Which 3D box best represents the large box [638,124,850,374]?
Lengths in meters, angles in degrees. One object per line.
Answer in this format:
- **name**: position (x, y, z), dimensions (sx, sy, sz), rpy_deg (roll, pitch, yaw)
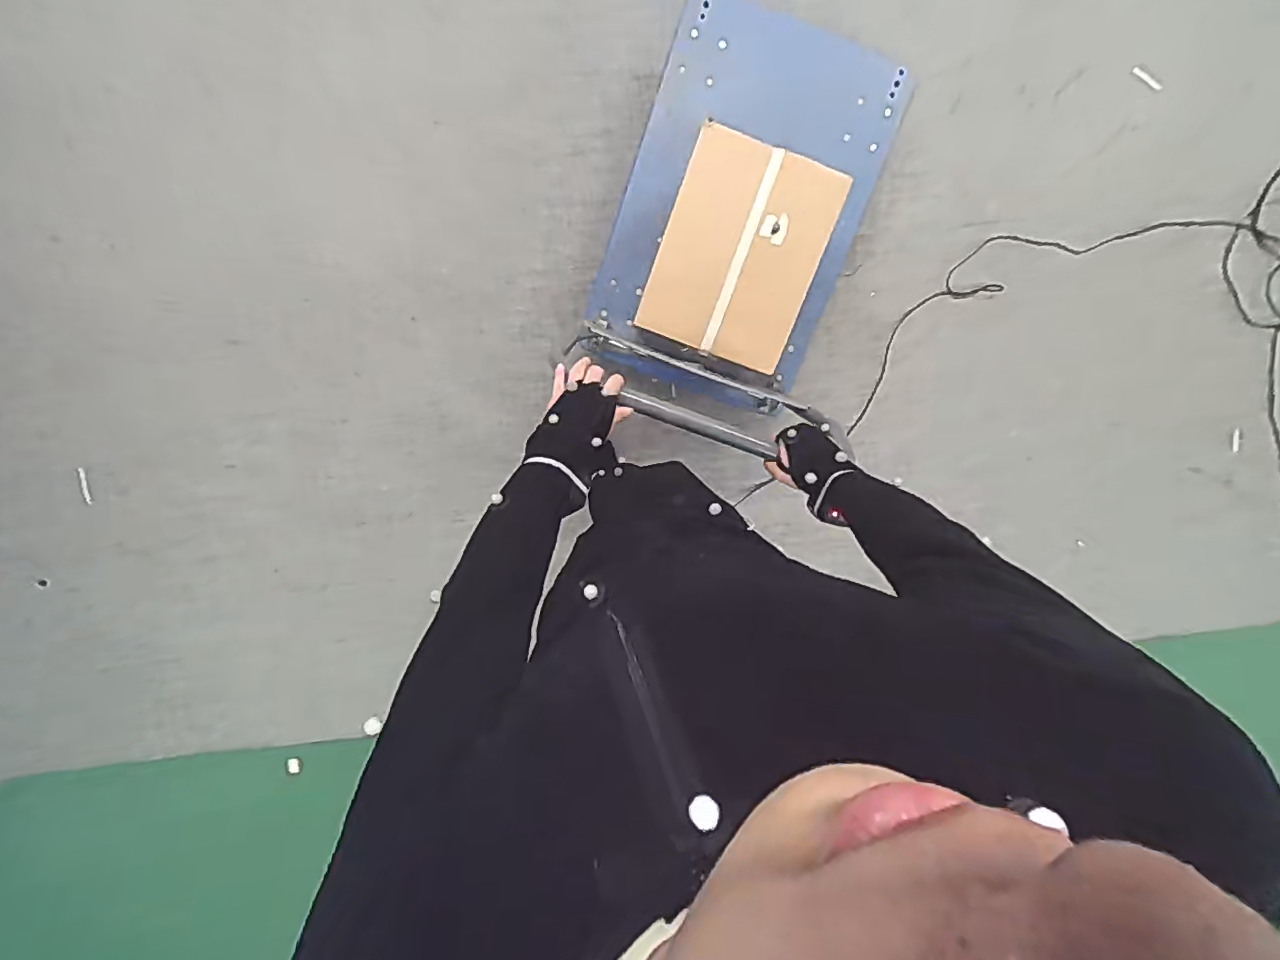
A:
- **large box**: position (0.206, -0.479, 1.223), dimensions (0.320, 0.320, 0.408), rpy_deg (20, 101, -4)
